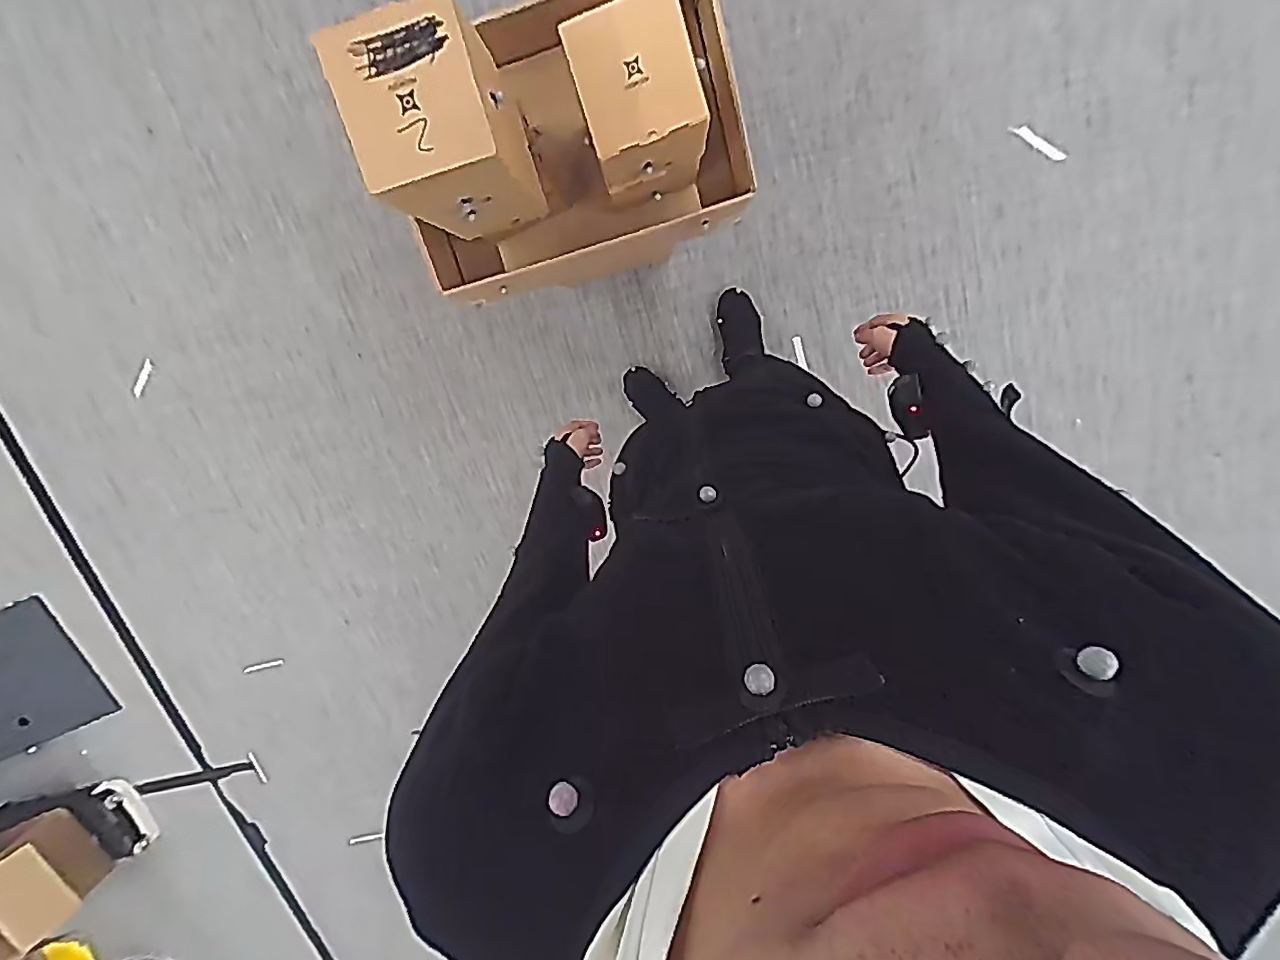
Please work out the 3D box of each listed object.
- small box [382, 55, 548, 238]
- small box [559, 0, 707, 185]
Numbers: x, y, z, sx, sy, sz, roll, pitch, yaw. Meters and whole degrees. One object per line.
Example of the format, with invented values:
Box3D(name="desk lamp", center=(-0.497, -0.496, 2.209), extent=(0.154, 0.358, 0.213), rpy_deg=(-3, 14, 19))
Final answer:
Box3D(name="small box", center=(-0.261, -0.505, 0.849), extent=(0.168, 0.176, 0.179), rpy_deg=(-15, 103, 8))
Box3D(name="small box", center=(-0.006, -0.581, 0.816), extent=(0.168, 0.176, 0.179), rpy_deg=(-17, 104, 8))
